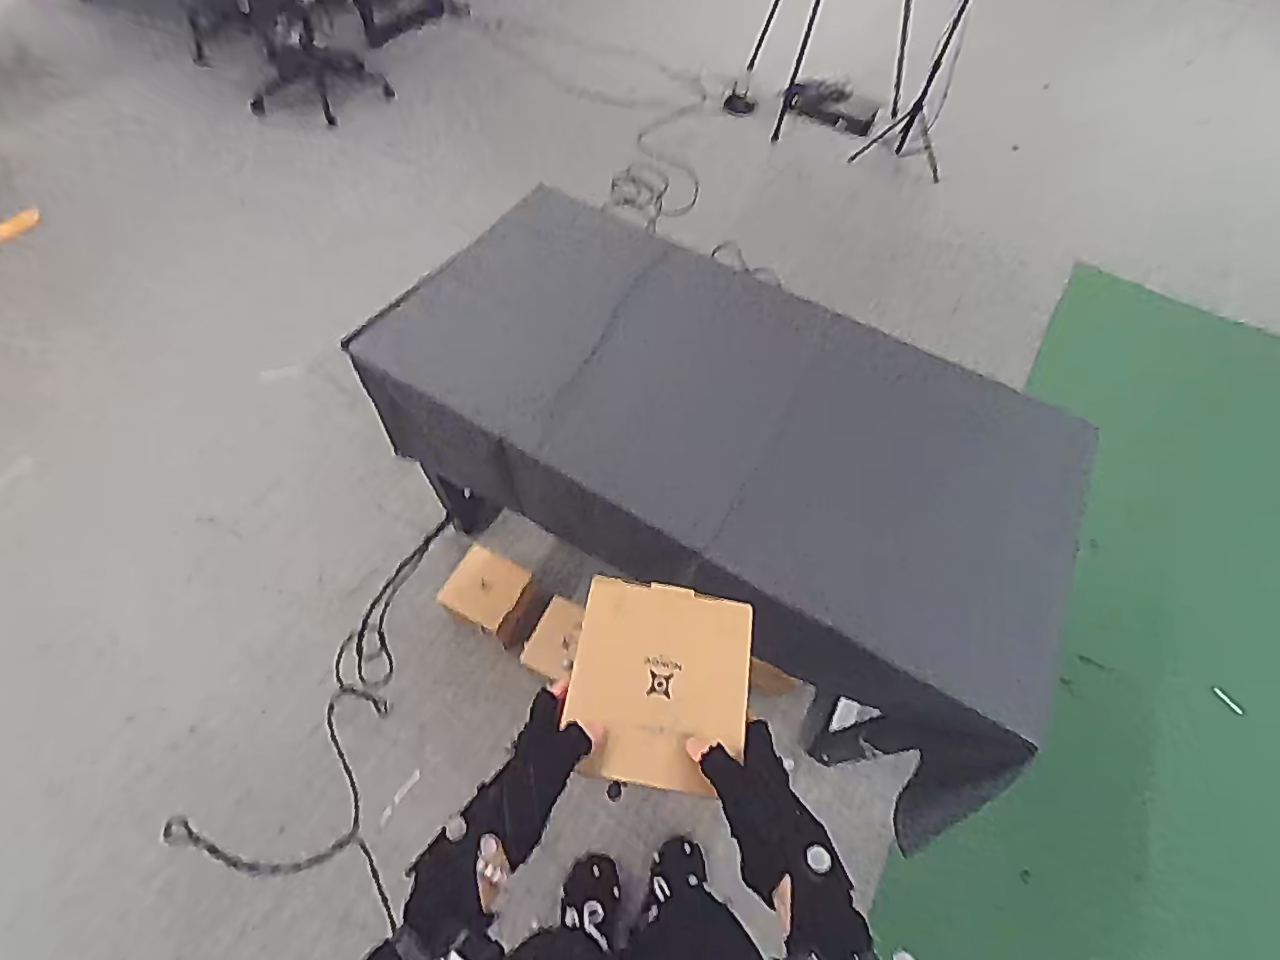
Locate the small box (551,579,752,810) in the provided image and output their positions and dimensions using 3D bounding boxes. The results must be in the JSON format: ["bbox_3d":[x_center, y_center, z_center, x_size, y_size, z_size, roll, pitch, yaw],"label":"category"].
[{"bbox_3d":[0.009,0.226,0.566,0.168,0.176,0.179,11,61,0],"label":"small box"}]
